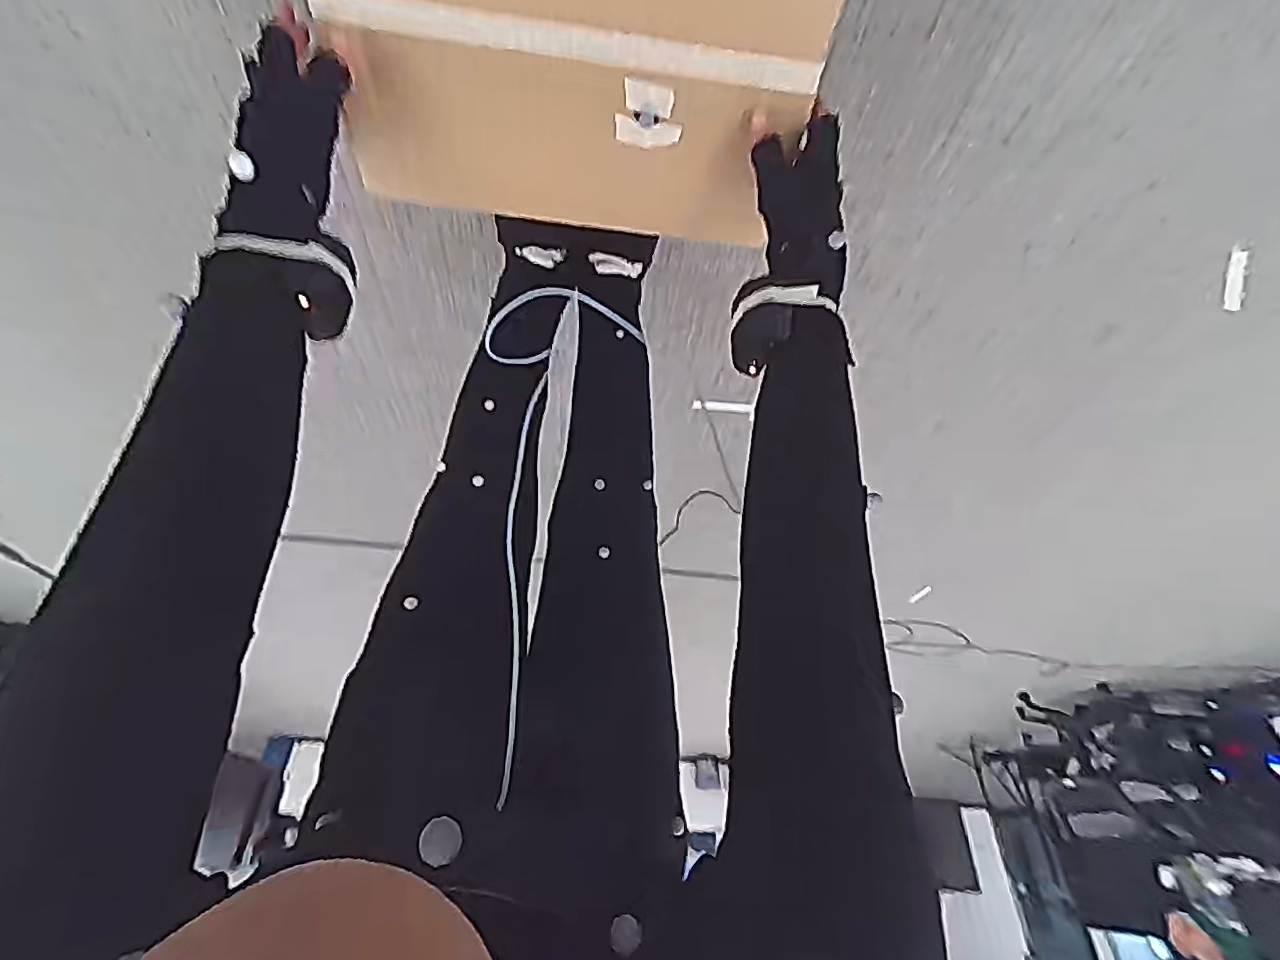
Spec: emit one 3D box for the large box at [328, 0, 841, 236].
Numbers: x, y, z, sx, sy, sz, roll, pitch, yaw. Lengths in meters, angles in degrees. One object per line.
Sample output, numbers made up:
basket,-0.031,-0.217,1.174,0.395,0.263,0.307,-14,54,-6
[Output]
large box,-0.045,-0.481,0.519,0.408,0.320,0.320,5,146,-5
